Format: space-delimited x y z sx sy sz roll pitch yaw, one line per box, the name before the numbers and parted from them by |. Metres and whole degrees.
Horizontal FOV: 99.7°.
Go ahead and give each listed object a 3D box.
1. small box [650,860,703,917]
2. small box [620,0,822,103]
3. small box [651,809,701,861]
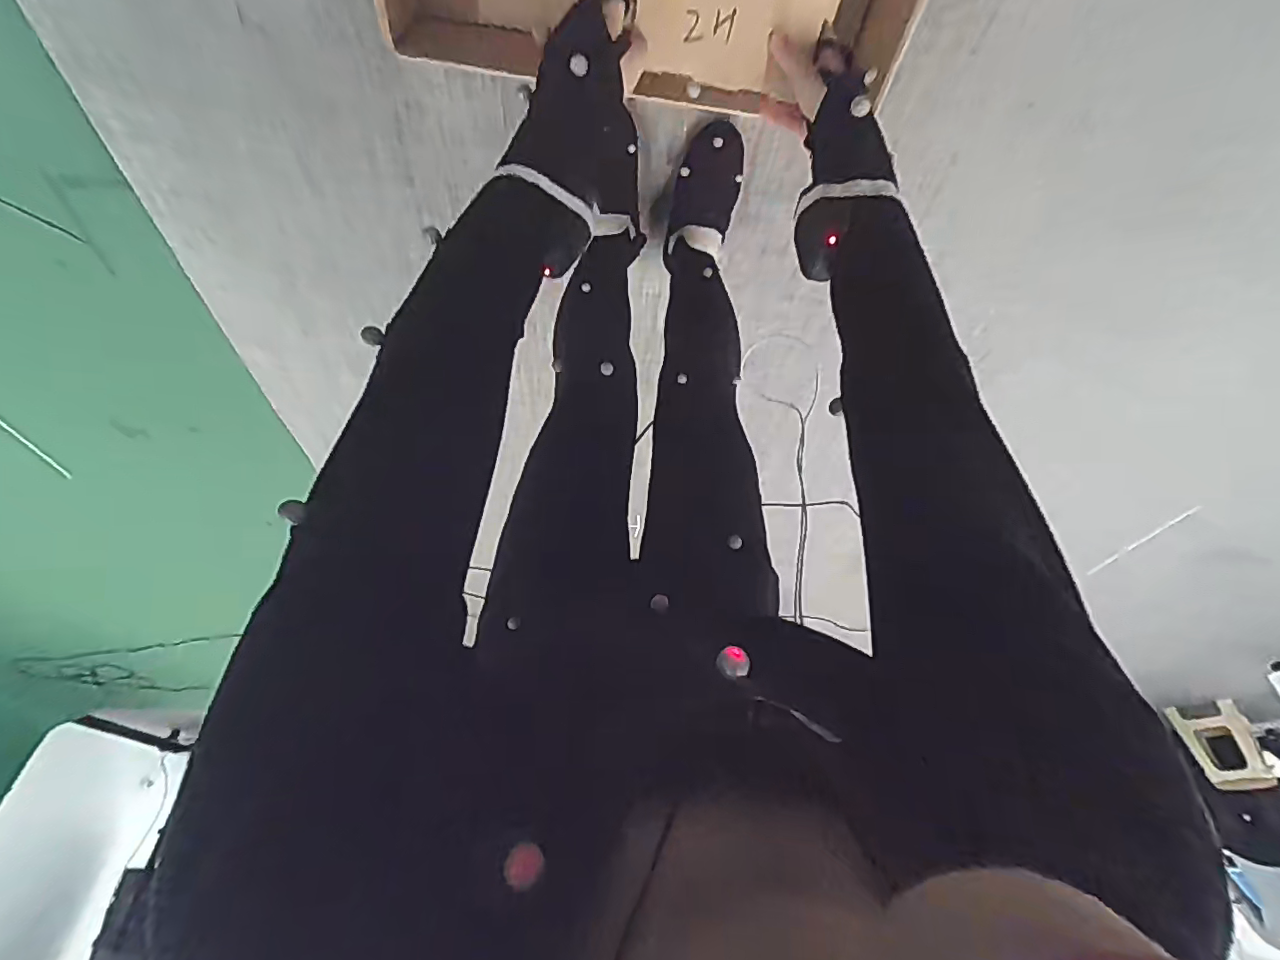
small box | 0.134 1.535 2.037 0.179 0.176 0.168 4 144 -4
small box | 0.075 -0.481 0.504 0.168 0.176 0.179 7 129 -9
small box | 0.139 1.406 2.139 0.179 0.176 0.168 4 143 -3
